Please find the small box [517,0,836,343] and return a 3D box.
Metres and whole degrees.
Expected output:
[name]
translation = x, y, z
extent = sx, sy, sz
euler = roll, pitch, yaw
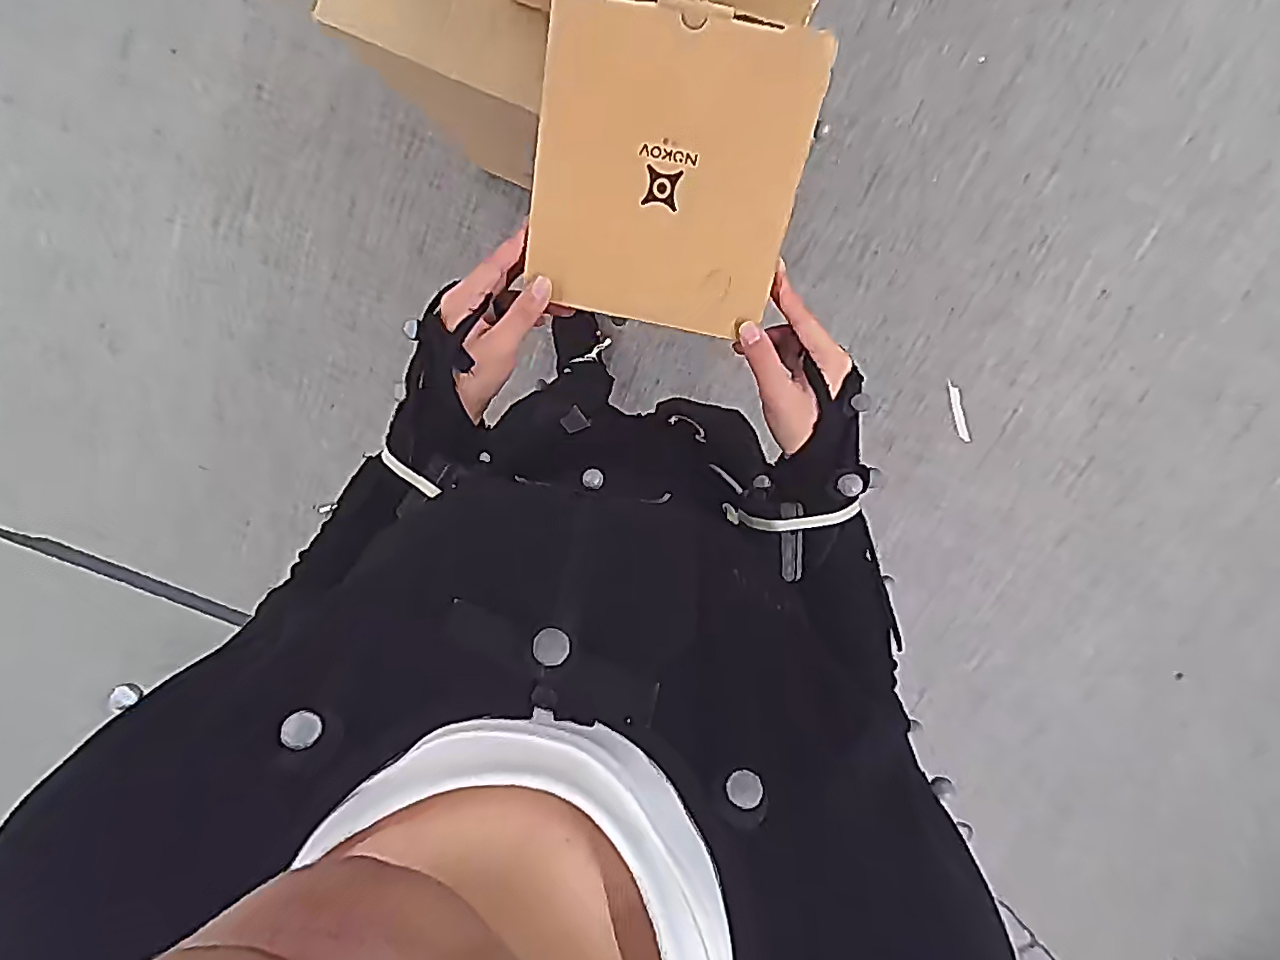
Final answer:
[small box]
translation = 0.021, -0.214, 0.399
extent = 0.168, 0.176, 0.179
euler = 12, 112, 1
